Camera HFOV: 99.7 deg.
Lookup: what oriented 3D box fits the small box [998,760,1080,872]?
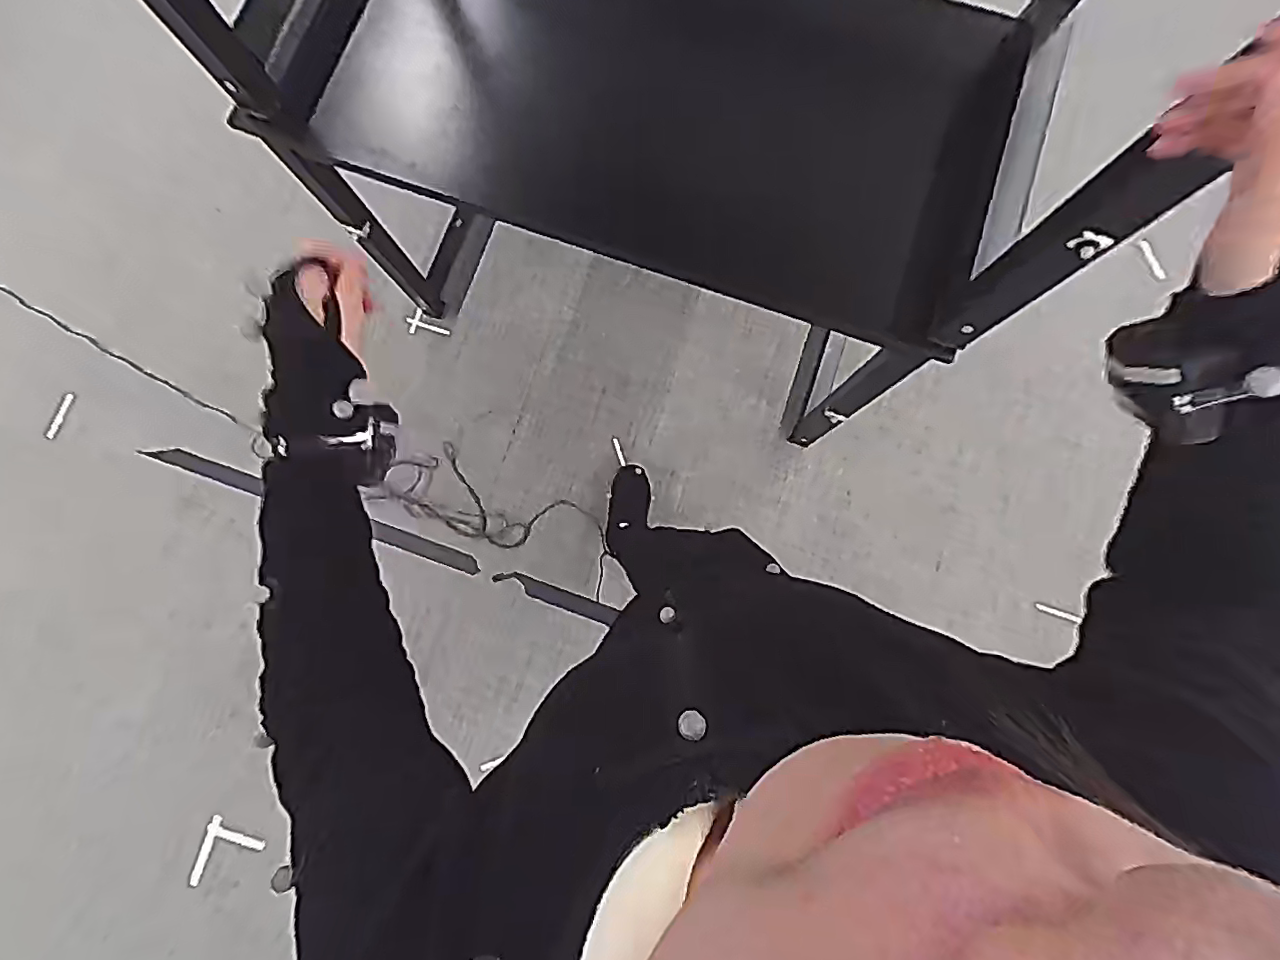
[{"bbox_3d":[1.018,0.825,1.314,0.168,0.176,0.179,24,84,4],"label":"small box"}]
